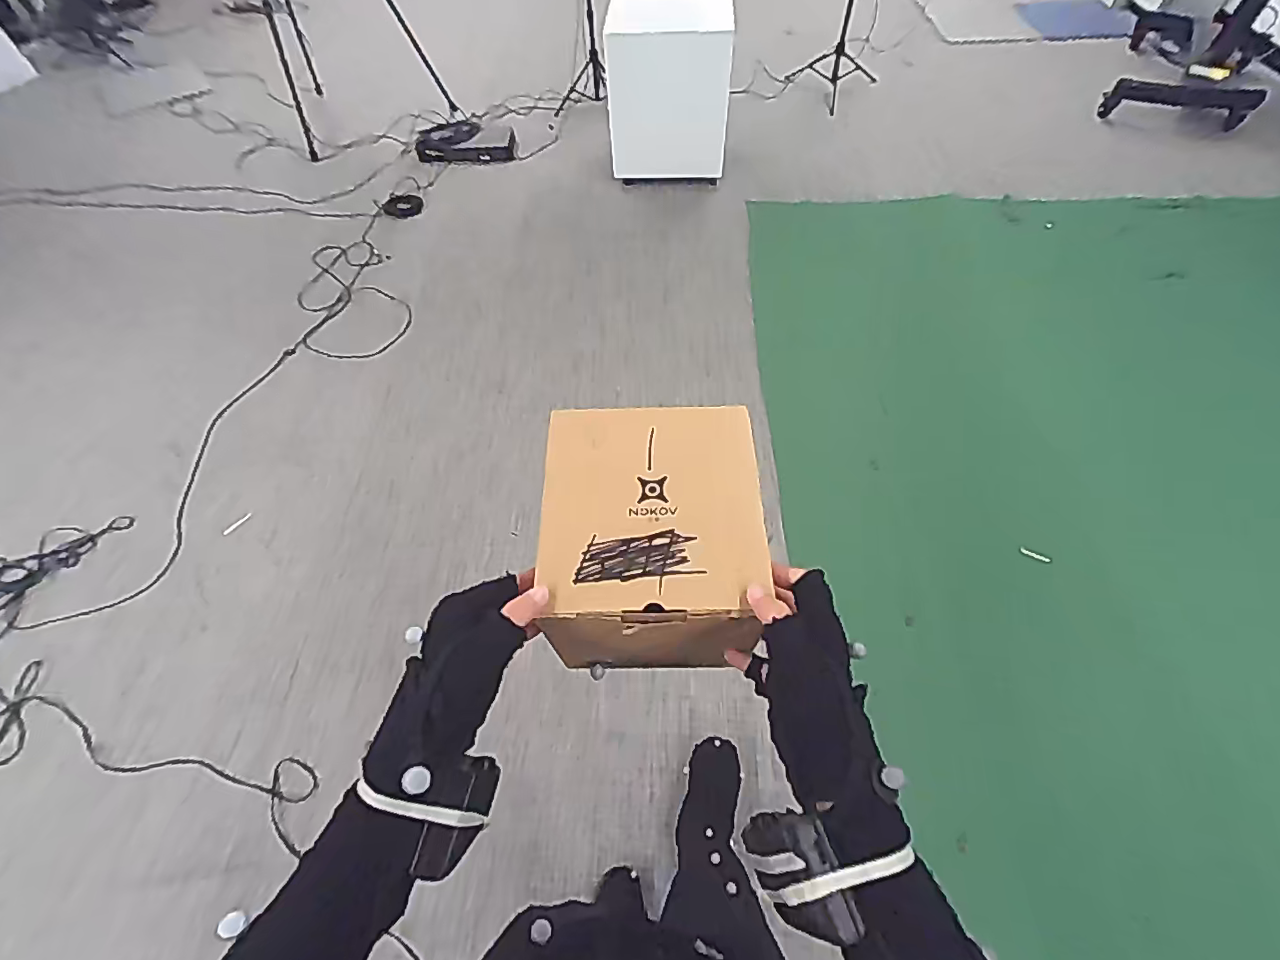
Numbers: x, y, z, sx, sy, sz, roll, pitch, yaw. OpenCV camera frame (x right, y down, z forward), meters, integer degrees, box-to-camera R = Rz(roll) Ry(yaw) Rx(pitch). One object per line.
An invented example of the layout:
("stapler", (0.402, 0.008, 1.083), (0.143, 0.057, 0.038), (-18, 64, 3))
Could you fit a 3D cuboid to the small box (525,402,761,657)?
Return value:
("small box", (0.006, 0.053, 0.476), (0.168, 0.176, 0.179), (-1, 58, 1))
